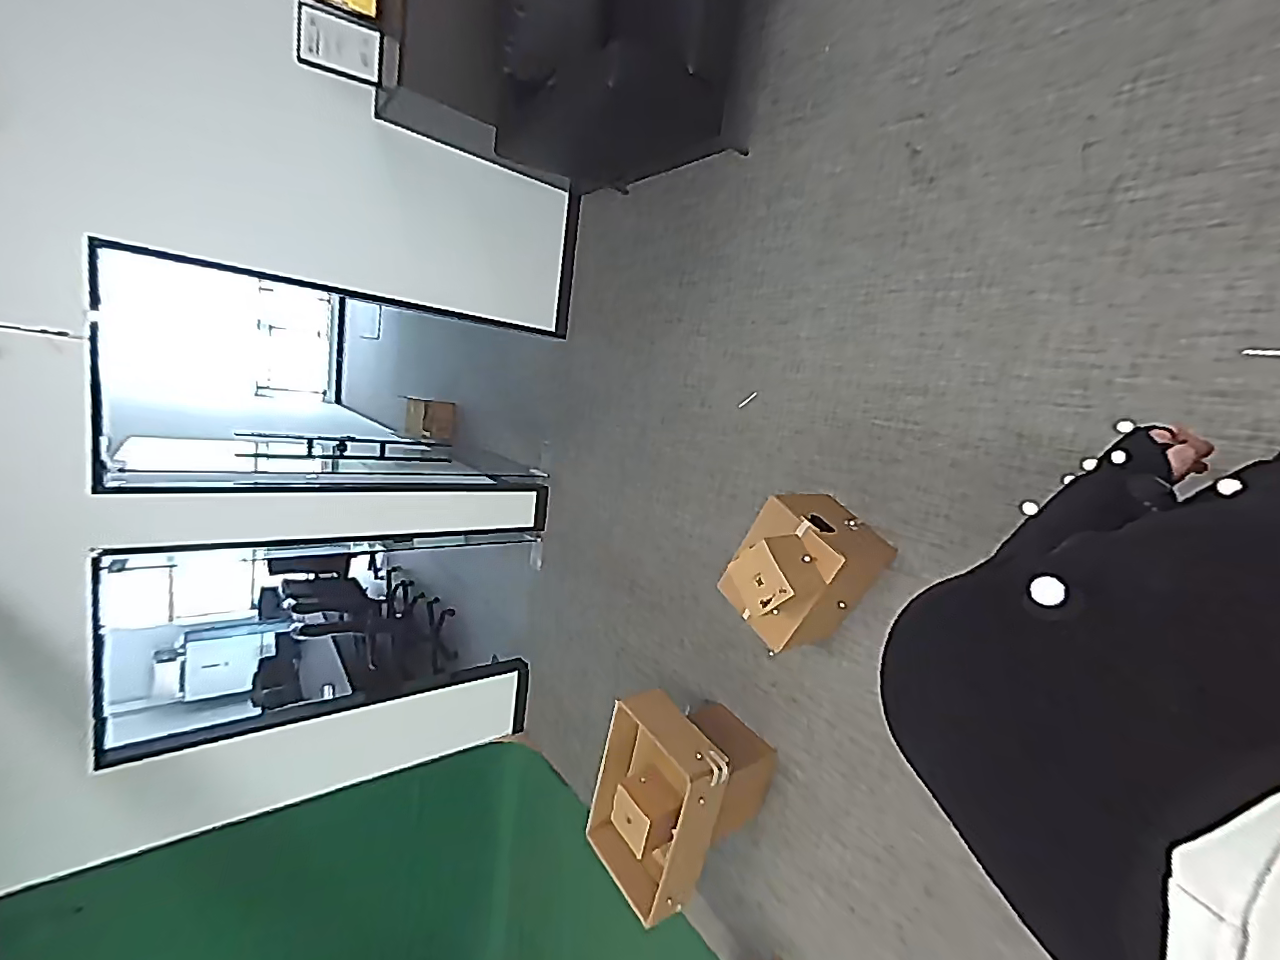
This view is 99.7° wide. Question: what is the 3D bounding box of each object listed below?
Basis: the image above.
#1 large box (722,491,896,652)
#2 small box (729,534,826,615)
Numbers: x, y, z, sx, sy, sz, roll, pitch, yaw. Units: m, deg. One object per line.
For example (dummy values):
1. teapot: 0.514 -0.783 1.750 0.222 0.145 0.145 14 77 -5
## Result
1. large box: 0.543 0.283 1.772 0.320 0.320 0.408 49 126 40
2. small box: 0.398 0.267 1.561 0.168 0.176 0.179 -47 56 39
